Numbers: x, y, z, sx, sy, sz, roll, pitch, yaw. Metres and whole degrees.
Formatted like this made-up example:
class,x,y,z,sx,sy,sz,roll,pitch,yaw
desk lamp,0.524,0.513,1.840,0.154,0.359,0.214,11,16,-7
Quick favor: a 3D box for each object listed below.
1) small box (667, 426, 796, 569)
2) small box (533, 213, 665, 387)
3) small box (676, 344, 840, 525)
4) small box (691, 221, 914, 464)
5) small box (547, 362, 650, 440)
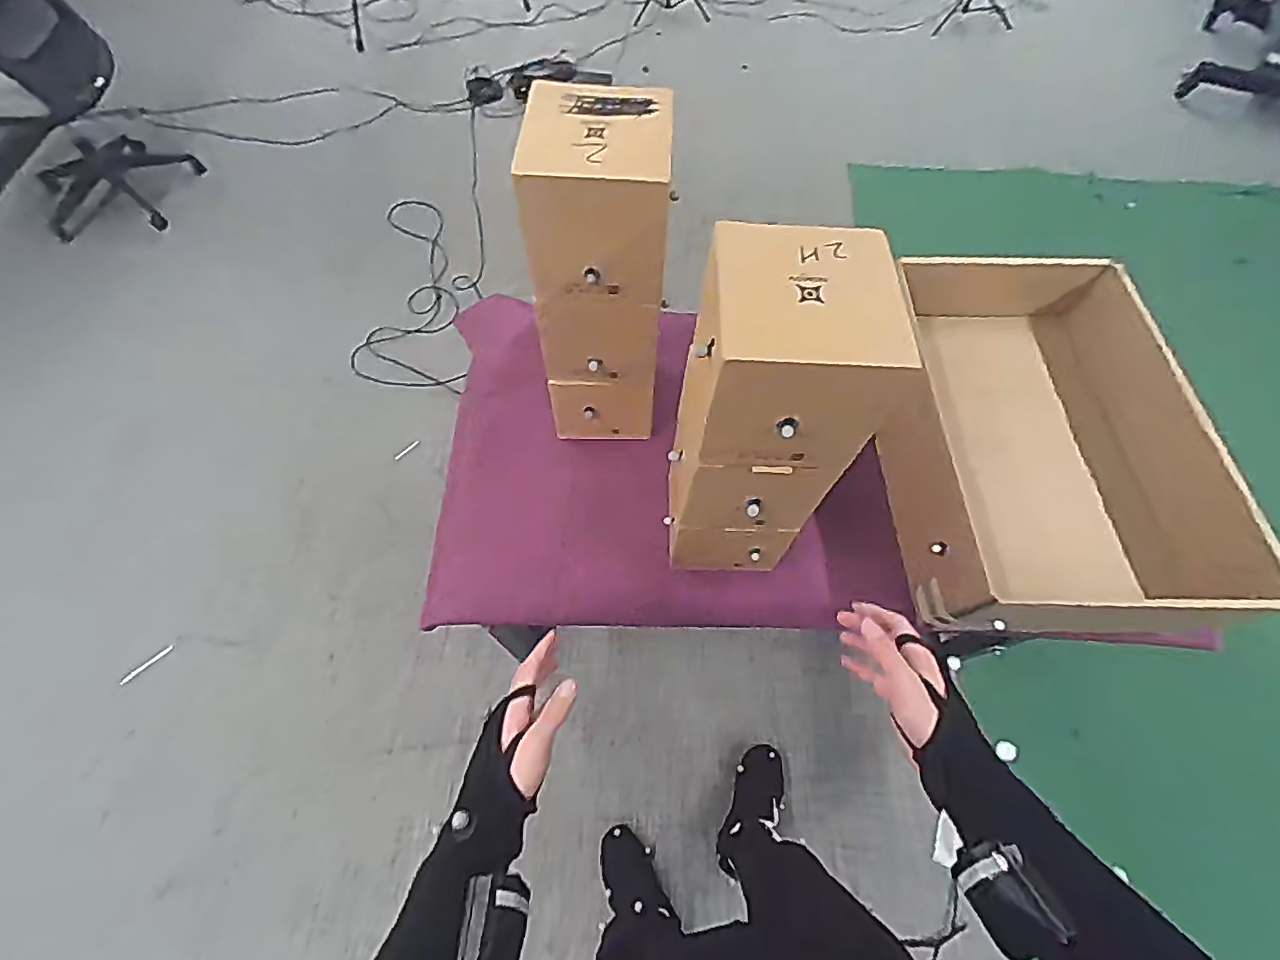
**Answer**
class,x,y,z,sx,sy,sz,roll,pitch,yaw
small box,0.132,0.031,0.838,0.168,0.176,0.179,2,60,-1
small box,-0.054,-0.263,0.806,0.168,0.176,0.179,4,62,1
small box,0.137,-0.051,0.697,0.168,0.176,0.179,2,62,-2
small box,0.145,-0.131,0.551,0.168,0.176,0.179,3,61,-1
small box,-0.065,-0.183,0.949,0.168,0.176,0.179,0,61,-1
